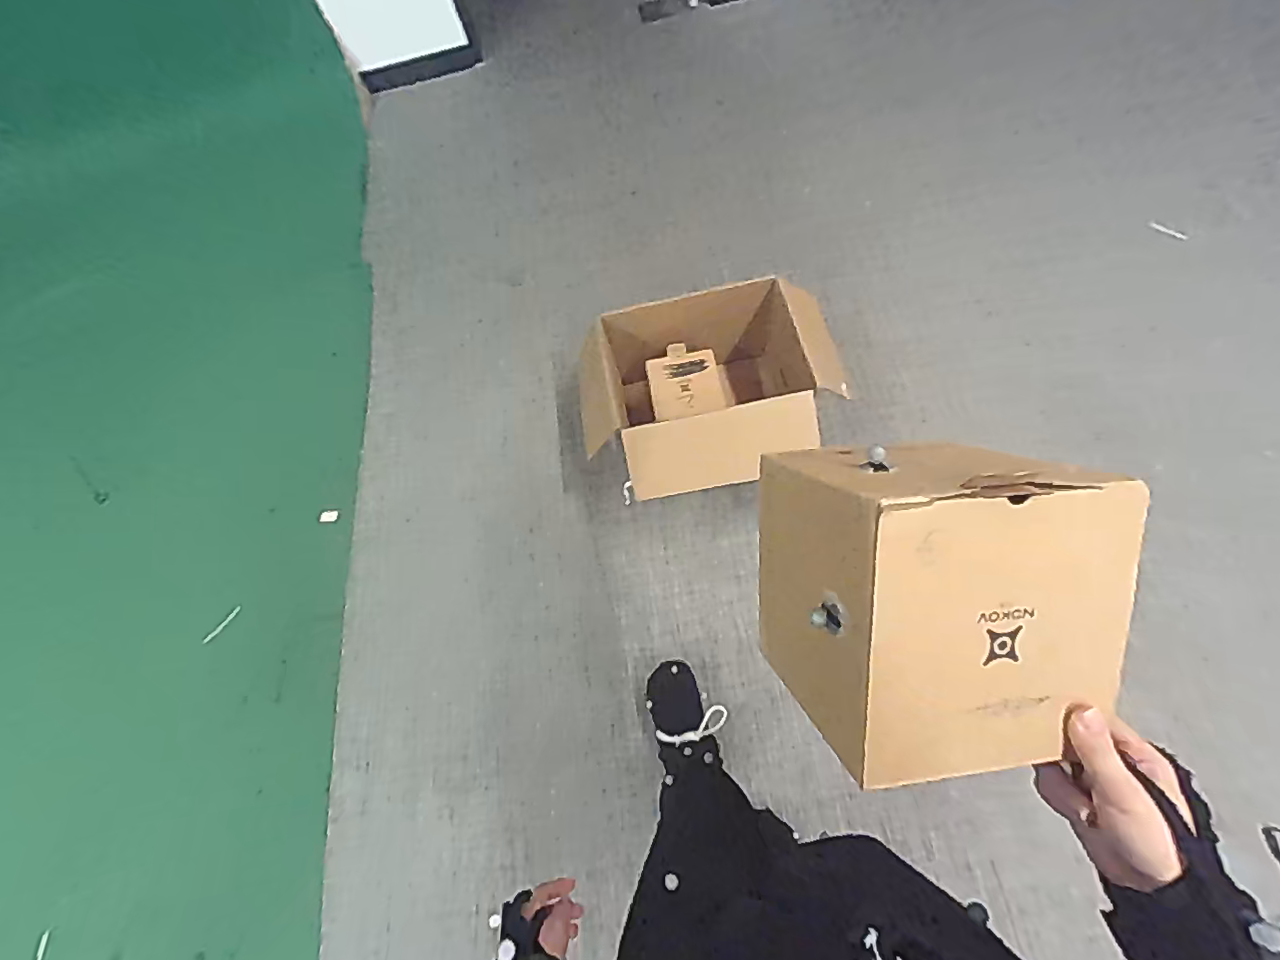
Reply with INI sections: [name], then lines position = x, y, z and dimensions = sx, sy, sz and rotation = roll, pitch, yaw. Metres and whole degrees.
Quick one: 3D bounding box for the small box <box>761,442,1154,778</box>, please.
[small box]
position = 0.192, 0.067, 0.381
dimensions = 0.168, 0.176, 0.179
rotation = -3, 102, -8
